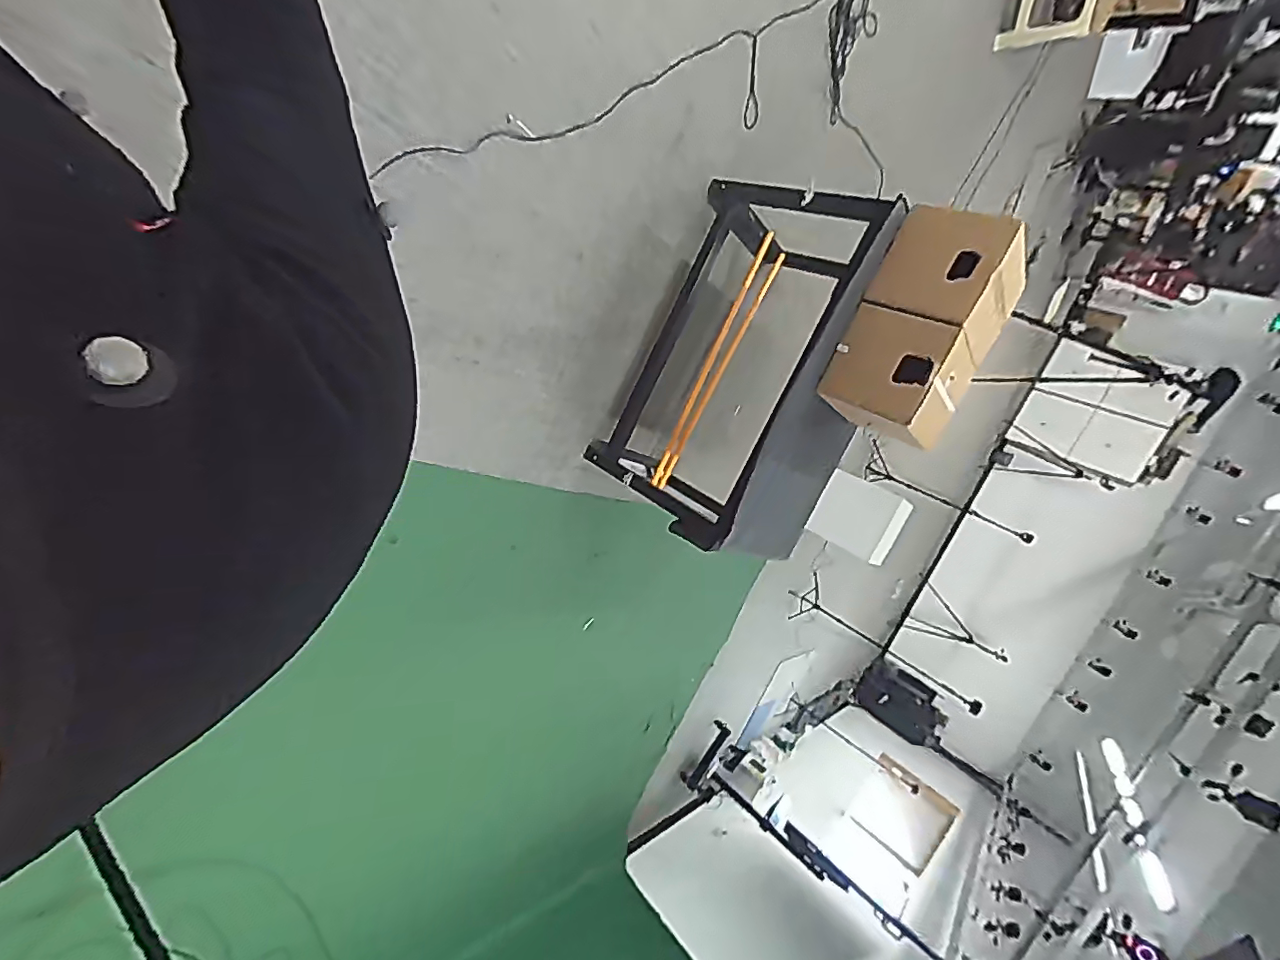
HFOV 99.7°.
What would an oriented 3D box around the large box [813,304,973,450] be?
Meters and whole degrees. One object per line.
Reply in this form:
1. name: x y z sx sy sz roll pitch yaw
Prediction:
1. large box: 0.834 -0.328 1.772 0.408 0.320 0.320 14 103 -52
